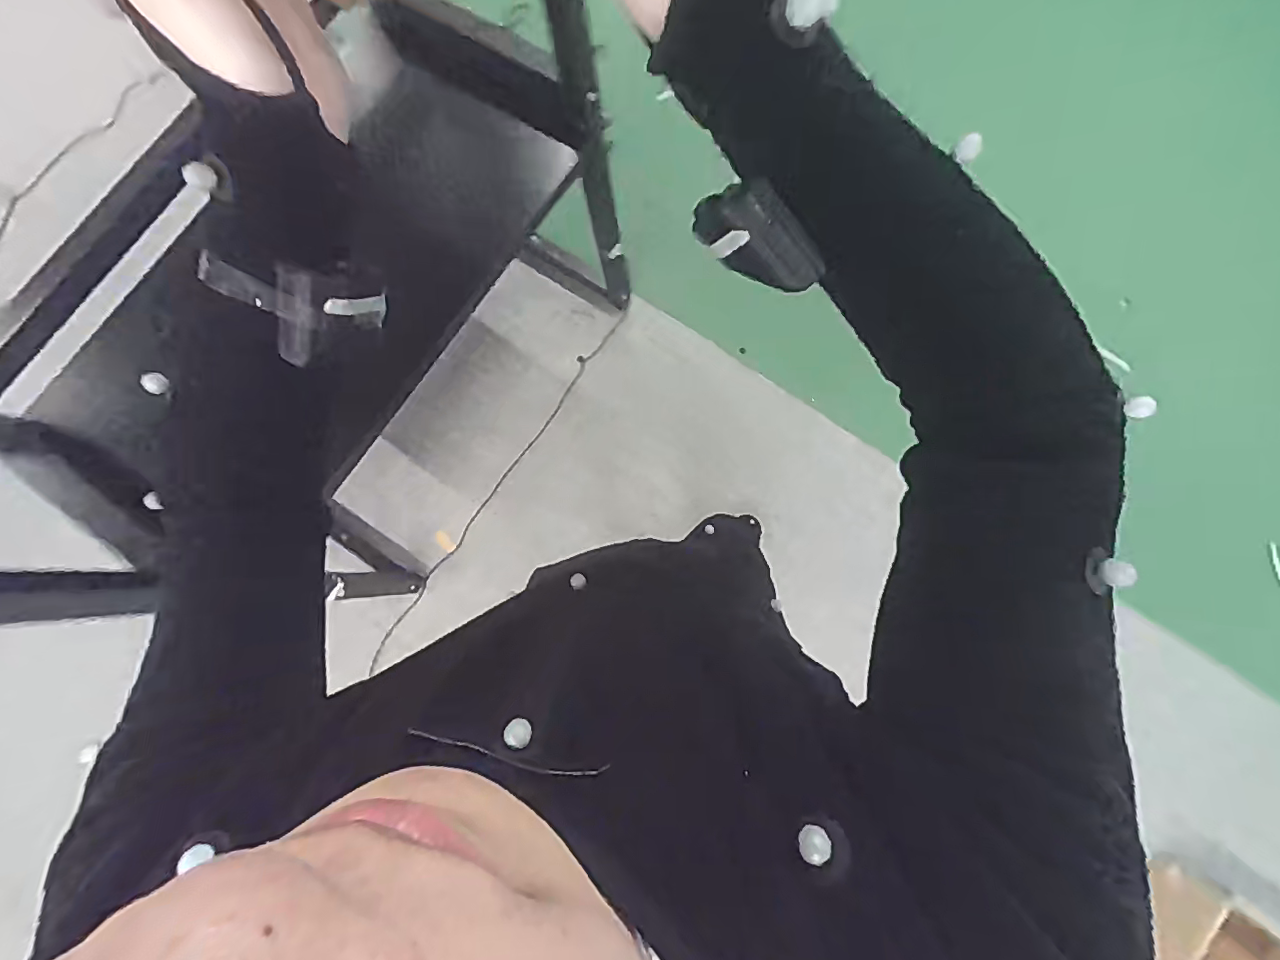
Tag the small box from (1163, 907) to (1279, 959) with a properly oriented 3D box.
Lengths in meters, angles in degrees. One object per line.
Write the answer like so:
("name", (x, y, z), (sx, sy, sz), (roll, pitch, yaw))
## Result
("small box", (1.422, 1.170, 1.282), (0.179, 0.176, 0.168), (36, 85, 9))
